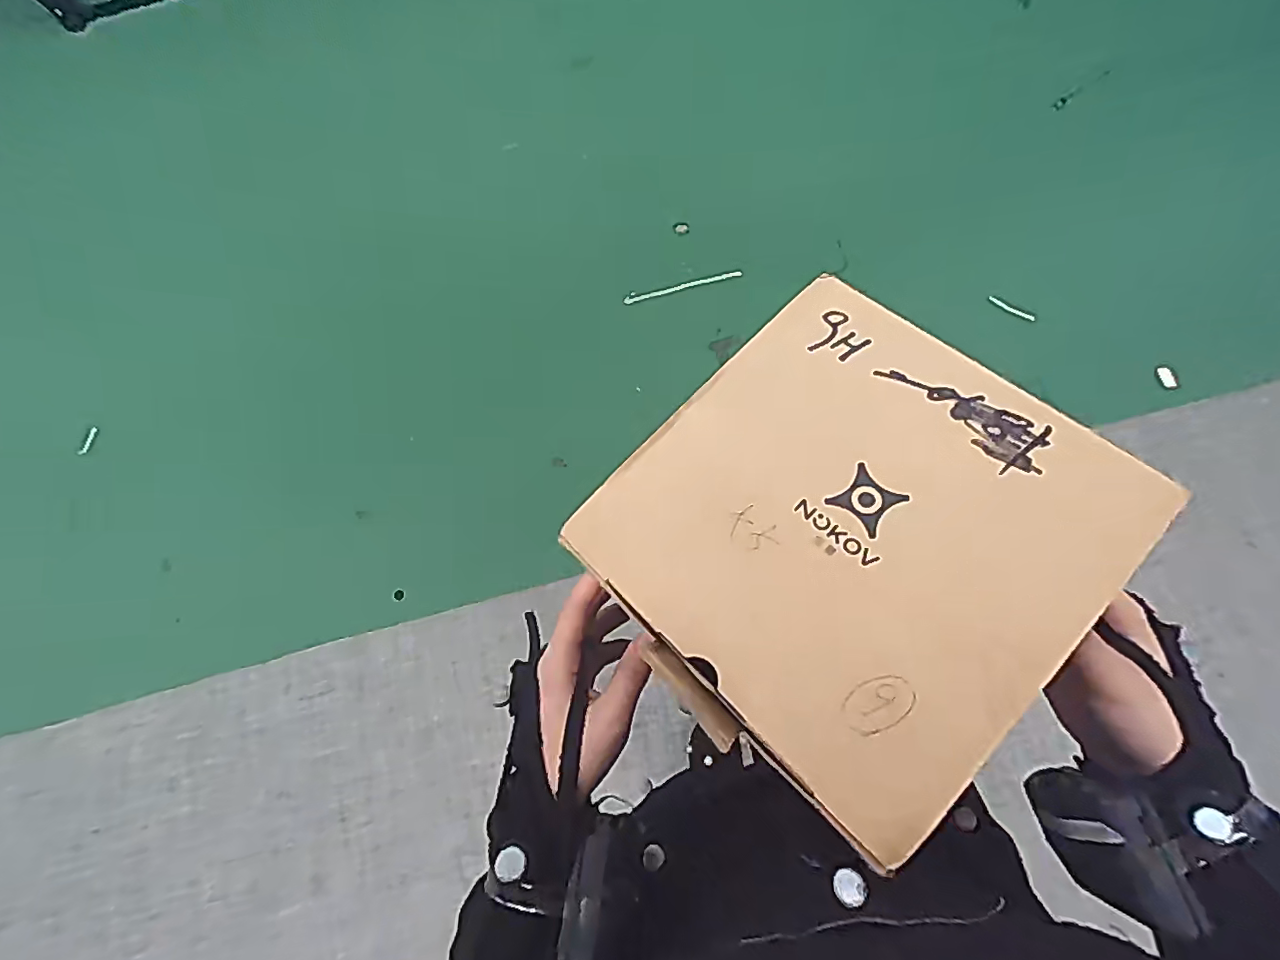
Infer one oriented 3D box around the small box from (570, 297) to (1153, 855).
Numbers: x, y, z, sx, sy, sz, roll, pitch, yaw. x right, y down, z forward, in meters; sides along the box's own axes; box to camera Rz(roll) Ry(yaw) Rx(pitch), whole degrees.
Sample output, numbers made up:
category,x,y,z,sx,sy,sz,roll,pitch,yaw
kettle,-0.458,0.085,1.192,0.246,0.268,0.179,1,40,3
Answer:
category,x,y,z,sx,sy,sz,roll,pitch,yaw
small box,0.096,0.048,0.297,0.168,0.176,0.179,41,81,20
